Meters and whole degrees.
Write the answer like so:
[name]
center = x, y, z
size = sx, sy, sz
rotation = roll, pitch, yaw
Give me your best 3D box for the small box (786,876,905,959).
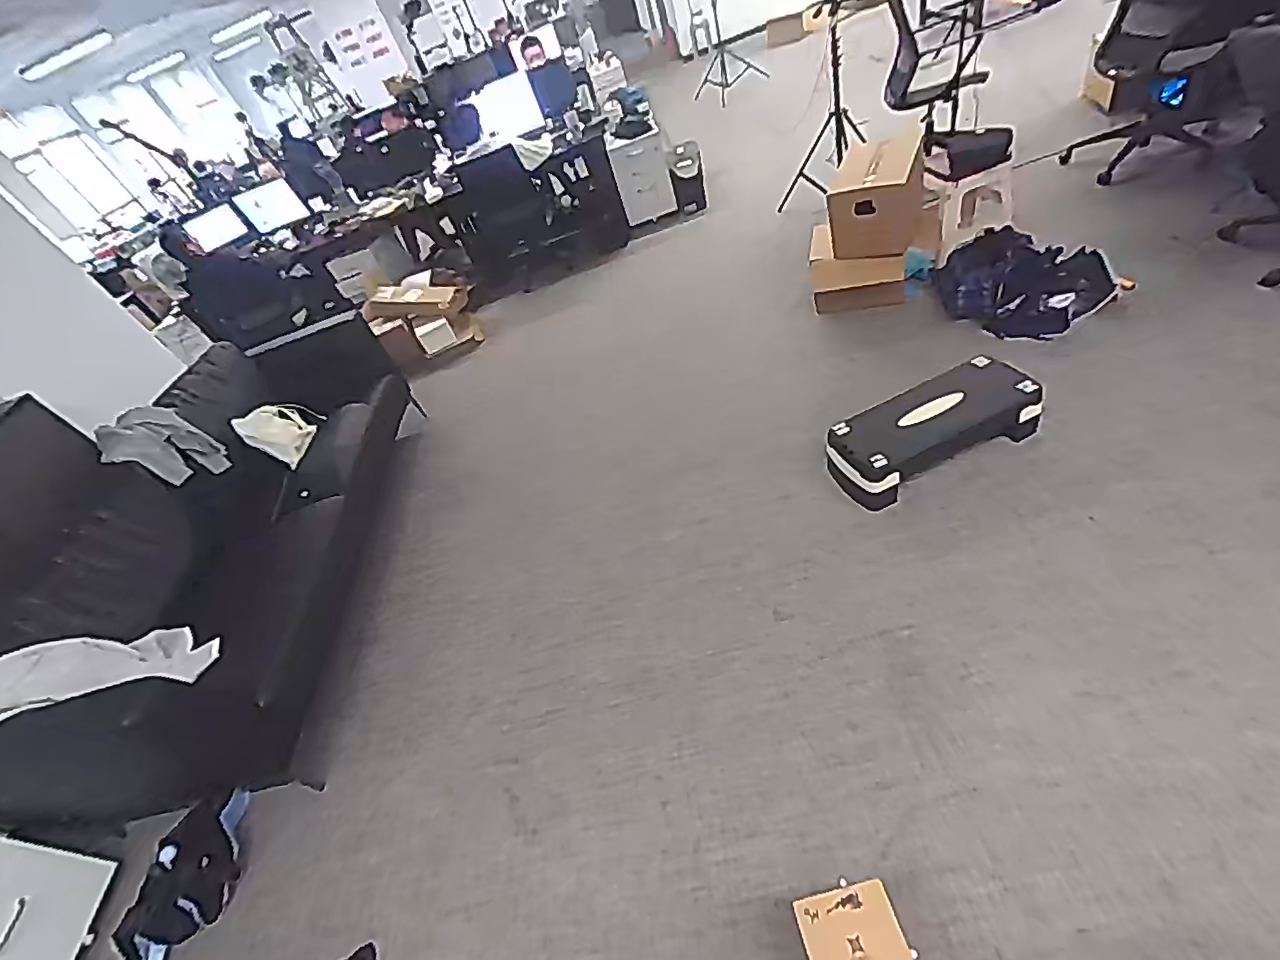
[small box]
center = 0.381, 0.848, 0.974
size = 0.168, 0.176, 0.179
rotation = -20, 44, 5
